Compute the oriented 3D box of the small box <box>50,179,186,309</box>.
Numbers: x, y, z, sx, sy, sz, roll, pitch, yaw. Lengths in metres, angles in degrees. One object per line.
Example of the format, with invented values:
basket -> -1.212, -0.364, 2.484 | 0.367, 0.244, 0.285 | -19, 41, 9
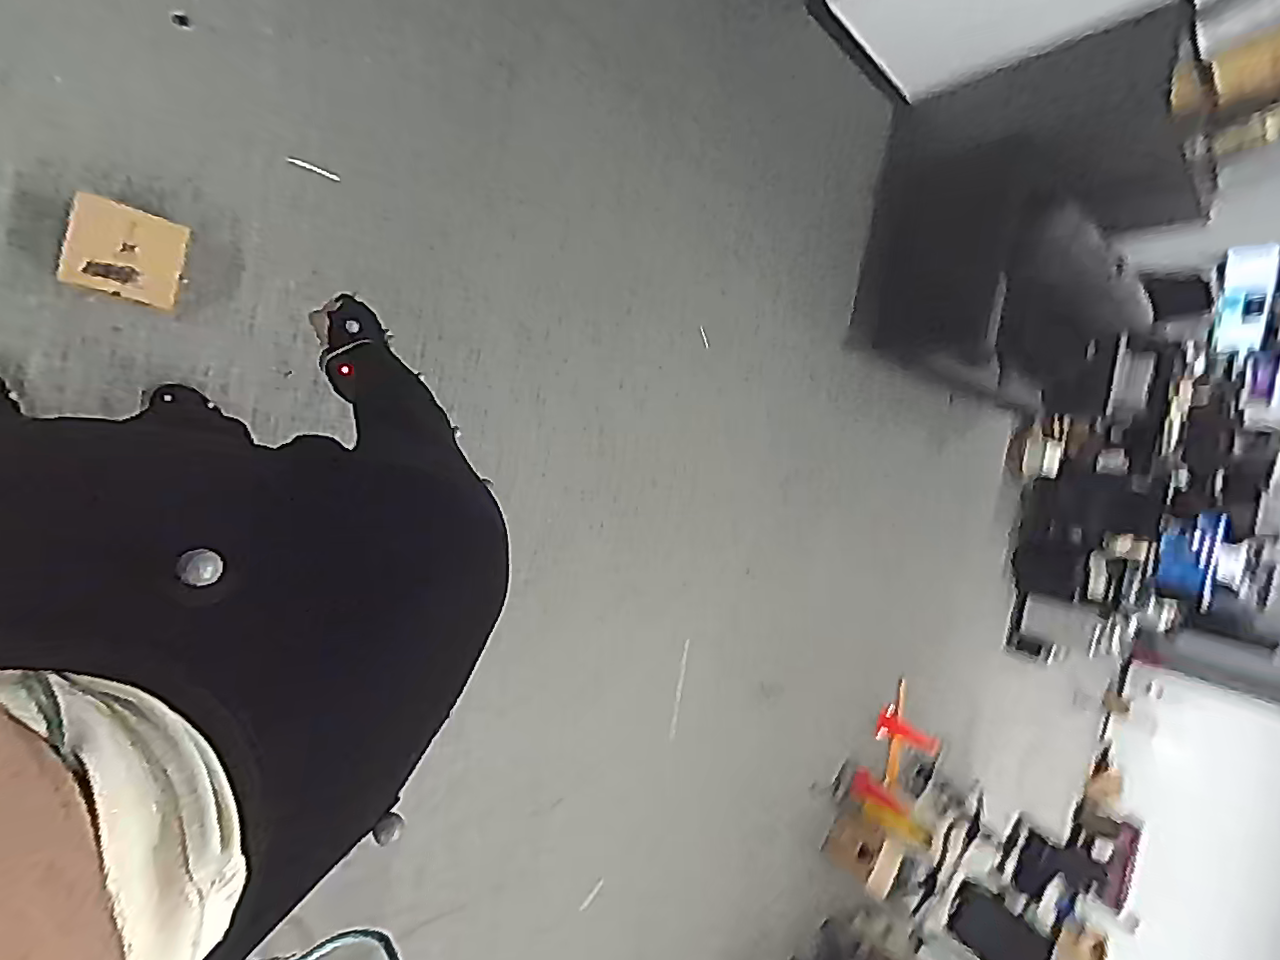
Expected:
small box -> -1.049, -0.465, 1.102 | 0.168, 0.176, 0.179 | 14, 89, -40
